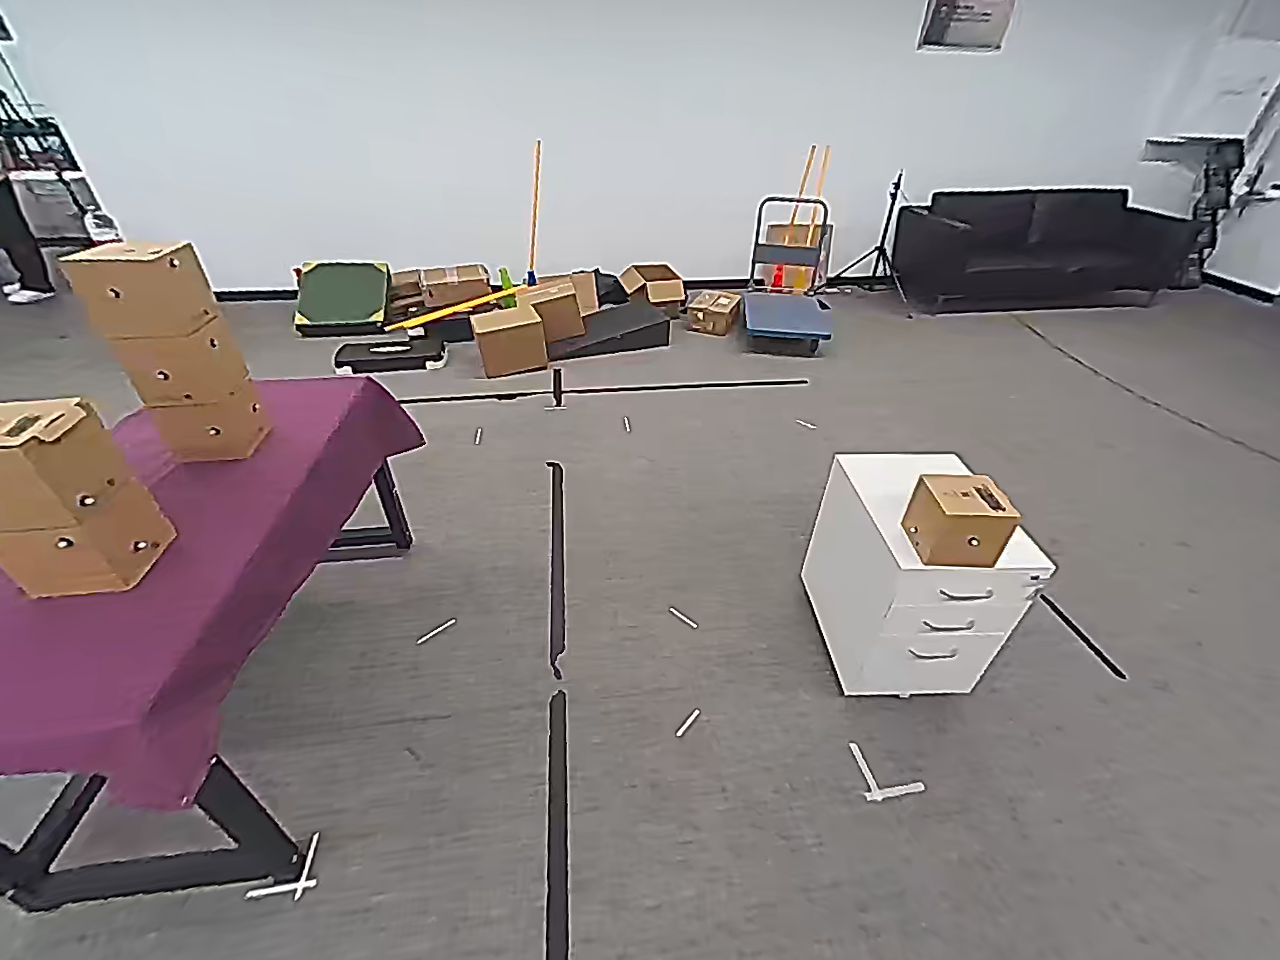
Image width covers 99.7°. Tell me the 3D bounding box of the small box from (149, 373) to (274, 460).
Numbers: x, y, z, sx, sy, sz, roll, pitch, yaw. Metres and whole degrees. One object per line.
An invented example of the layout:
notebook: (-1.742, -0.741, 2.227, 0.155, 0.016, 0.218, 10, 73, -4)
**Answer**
small box: (-1.105, -0.167, 1.417, 0.179, 0.176, 0.168, -4, 37, -6)

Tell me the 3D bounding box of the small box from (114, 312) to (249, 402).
small box: (-1.099, -0.298, 1.319, 0.168, 0.176, 0.179, -4, 36, -8)

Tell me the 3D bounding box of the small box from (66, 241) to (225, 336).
small box: (-1.103, -0.432, 1.225, 0.179, 0.176, 0.168, -4, 37, -6)

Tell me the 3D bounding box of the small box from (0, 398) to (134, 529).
small box: (-1.072, -0.029, 0.960, 0.179, 0.176, 0.168, -5, 37, -8)

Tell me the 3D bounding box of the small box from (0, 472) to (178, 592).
small box: (-1.075, 0.102, 1.059, 0.179, 0.176, 0.168, -3, 37, -8)
